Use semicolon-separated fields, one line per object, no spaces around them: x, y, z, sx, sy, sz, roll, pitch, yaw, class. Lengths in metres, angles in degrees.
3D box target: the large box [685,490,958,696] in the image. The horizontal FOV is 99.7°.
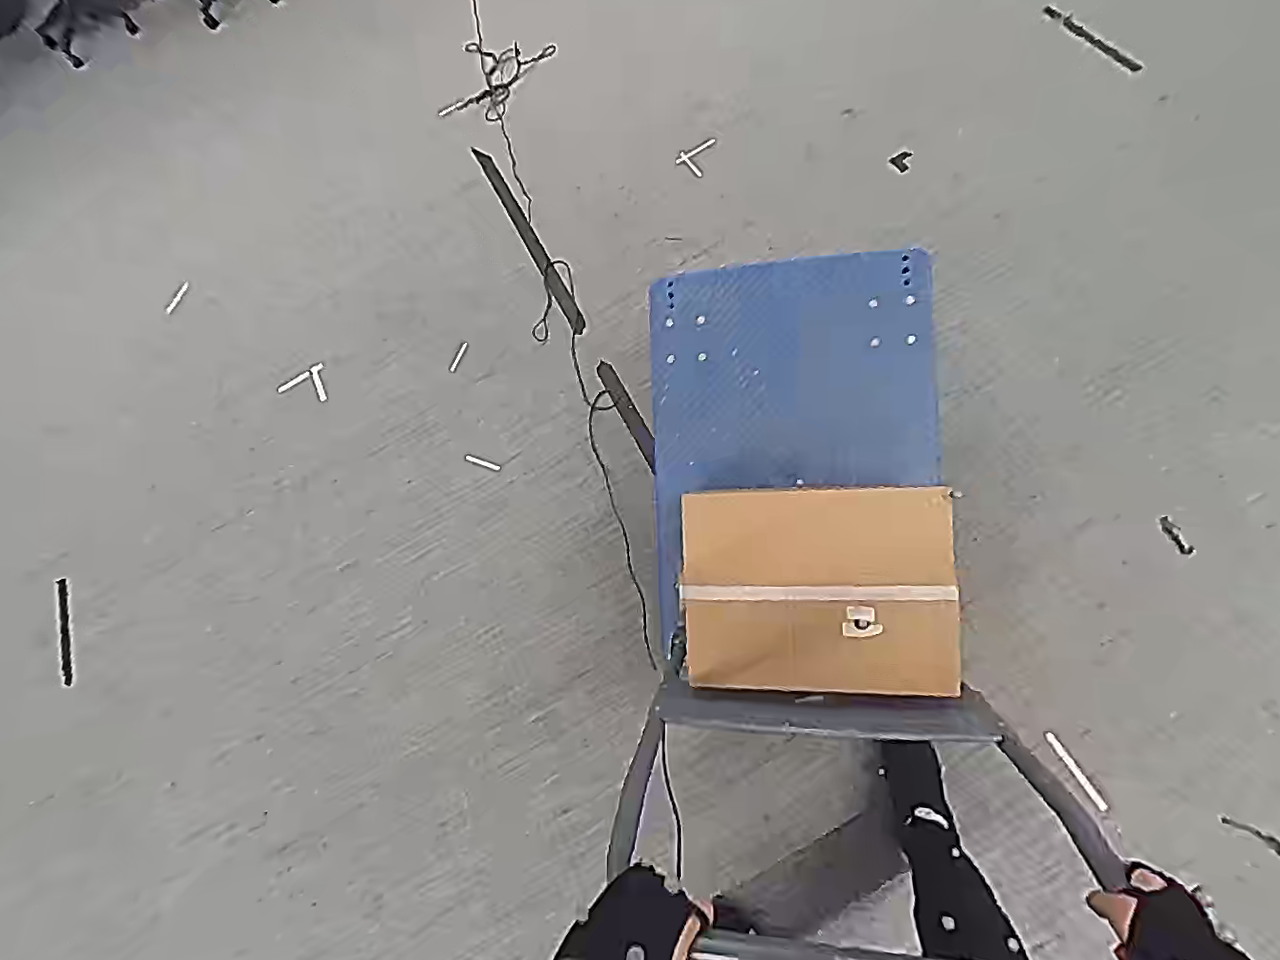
0.301;0.179;0.989;0.408;0.320;0.320;-2;91;11;large box
